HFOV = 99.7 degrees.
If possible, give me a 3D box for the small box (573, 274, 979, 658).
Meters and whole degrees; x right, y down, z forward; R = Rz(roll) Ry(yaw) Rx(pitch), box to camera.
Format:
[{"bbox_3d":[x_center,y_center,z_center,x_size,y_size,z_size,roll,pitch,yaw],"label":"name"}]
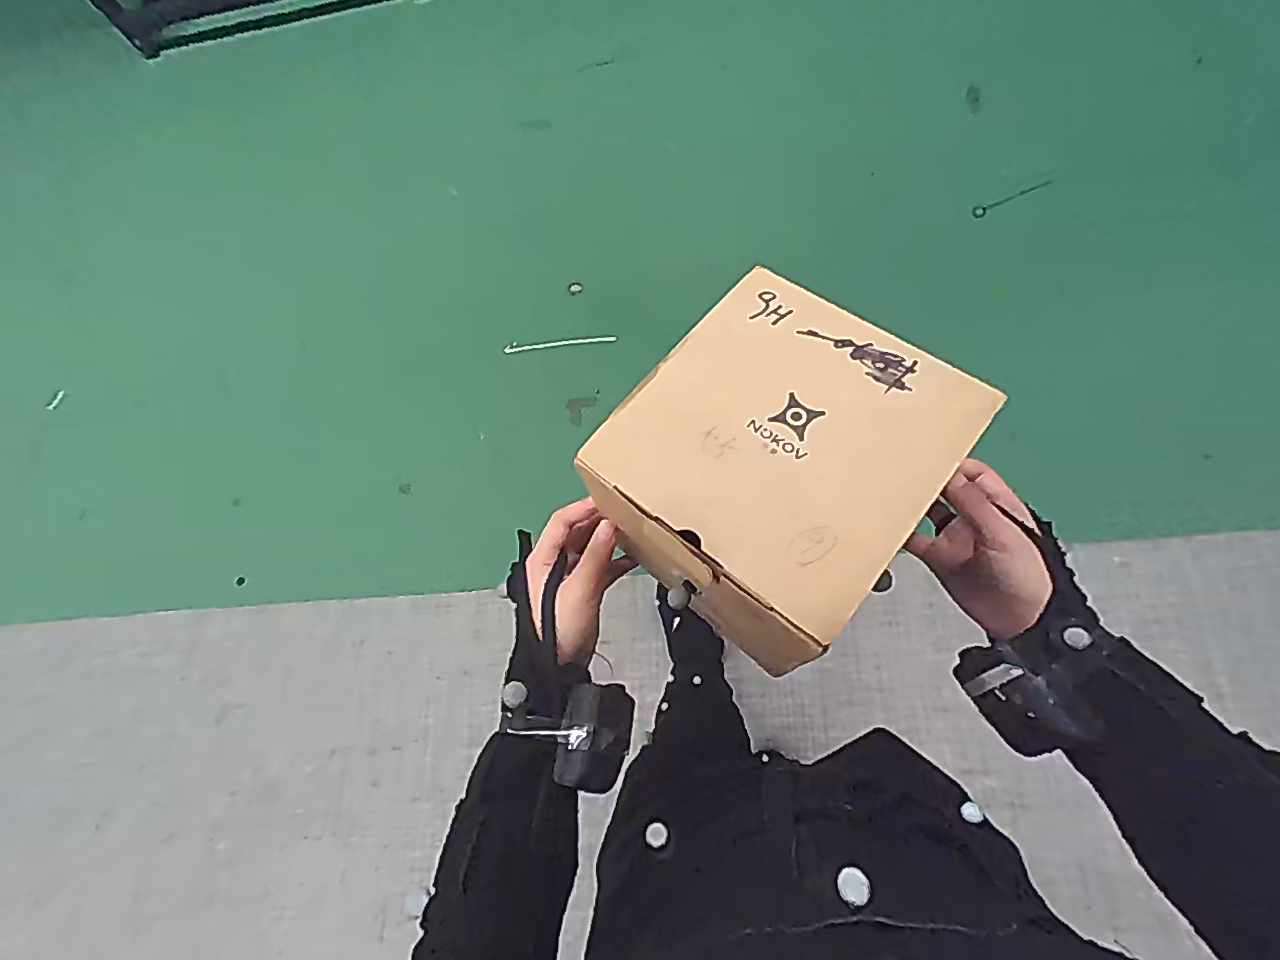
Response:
[{"bbox_3d":[0.085,0.003,0.381,0.168,0.176,0.179,37,76,20],"label":"small box"}]
